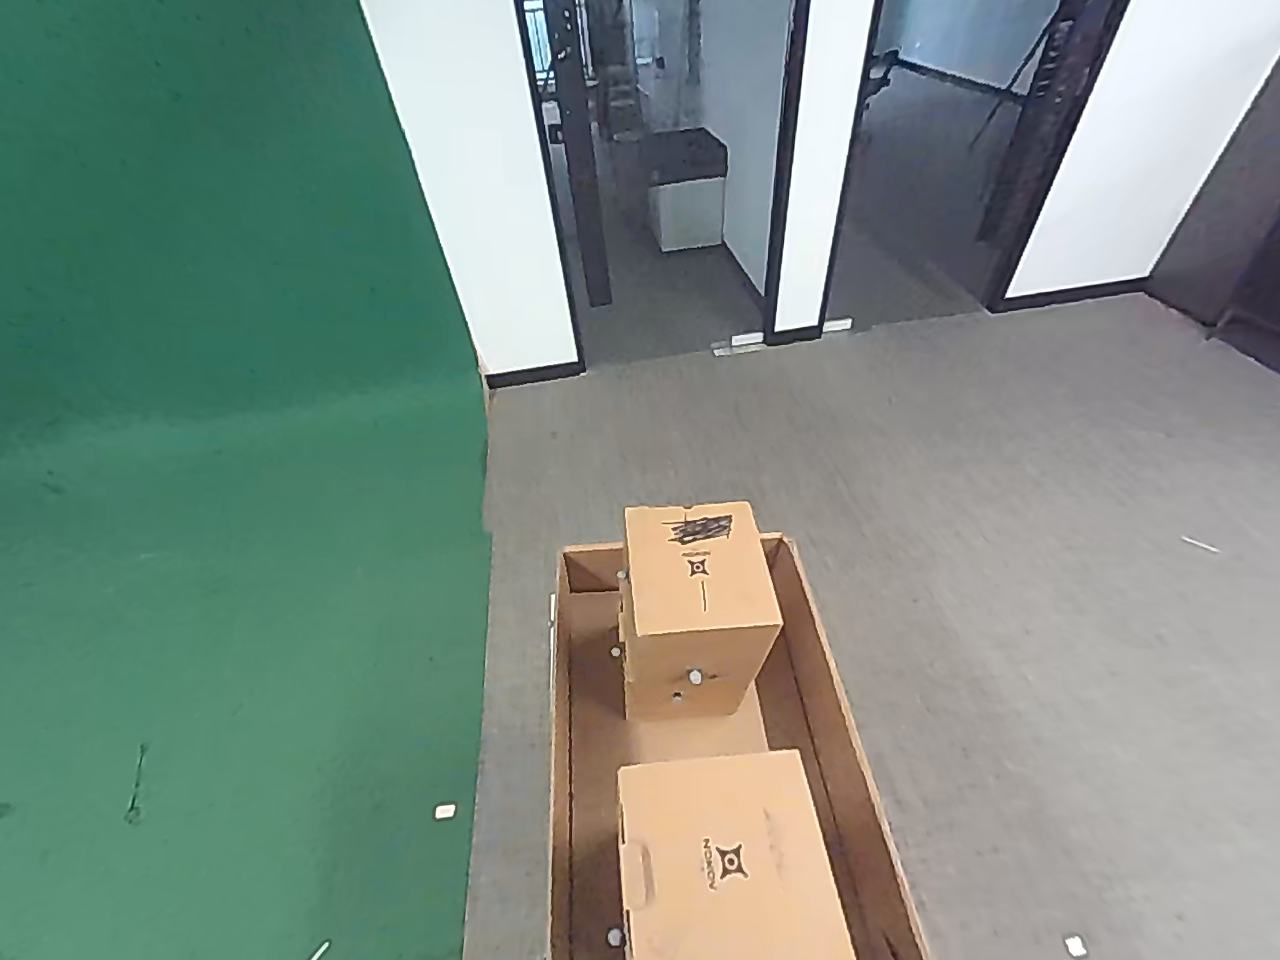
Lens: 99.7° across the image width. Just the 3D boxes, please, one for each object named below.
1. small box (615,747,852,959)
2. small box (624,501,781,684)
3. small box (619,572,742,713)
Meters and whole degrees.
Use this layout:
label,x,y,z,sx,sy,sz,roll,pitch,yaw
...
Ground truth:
label,x,y,z,sx,sy,sz,roll,pitch,yaw
small box,0.069,0.374,0.520,0.179,0.176,0.168,-3,50,-6
small box,0.067,0.148,0.708,0.168,0.176,0.179,-3,51,-4
small box,0.060,0.250,0.836,0.179,0.176,0.168,-2,51,-4
